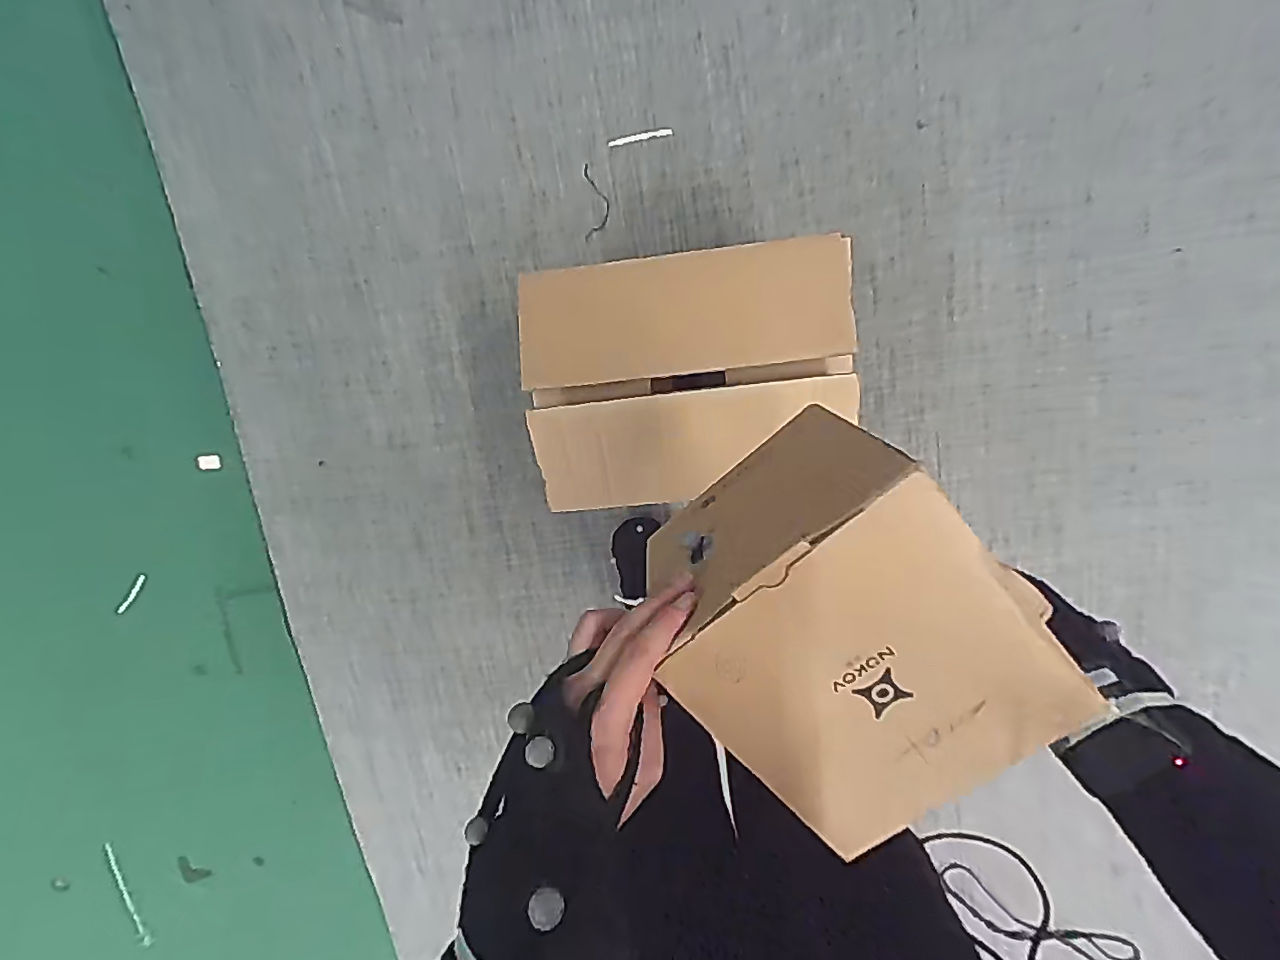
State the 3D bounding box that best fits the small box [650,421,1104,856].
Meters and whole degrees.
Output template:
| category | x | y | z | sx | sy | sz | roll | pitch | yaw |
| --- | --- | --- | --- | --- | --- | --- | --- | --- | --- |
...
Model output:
| category | x | y | z | sx | sy | sz | roll | pitch | yaw |
| --- | --- | --- | --- | --- | --- | --- | --- | --- | --- |
| small box | 0.121 | 0.079 | 0.349 | 0.168 | 0.176 | 0.179 | -40 | 103 | 13 |
